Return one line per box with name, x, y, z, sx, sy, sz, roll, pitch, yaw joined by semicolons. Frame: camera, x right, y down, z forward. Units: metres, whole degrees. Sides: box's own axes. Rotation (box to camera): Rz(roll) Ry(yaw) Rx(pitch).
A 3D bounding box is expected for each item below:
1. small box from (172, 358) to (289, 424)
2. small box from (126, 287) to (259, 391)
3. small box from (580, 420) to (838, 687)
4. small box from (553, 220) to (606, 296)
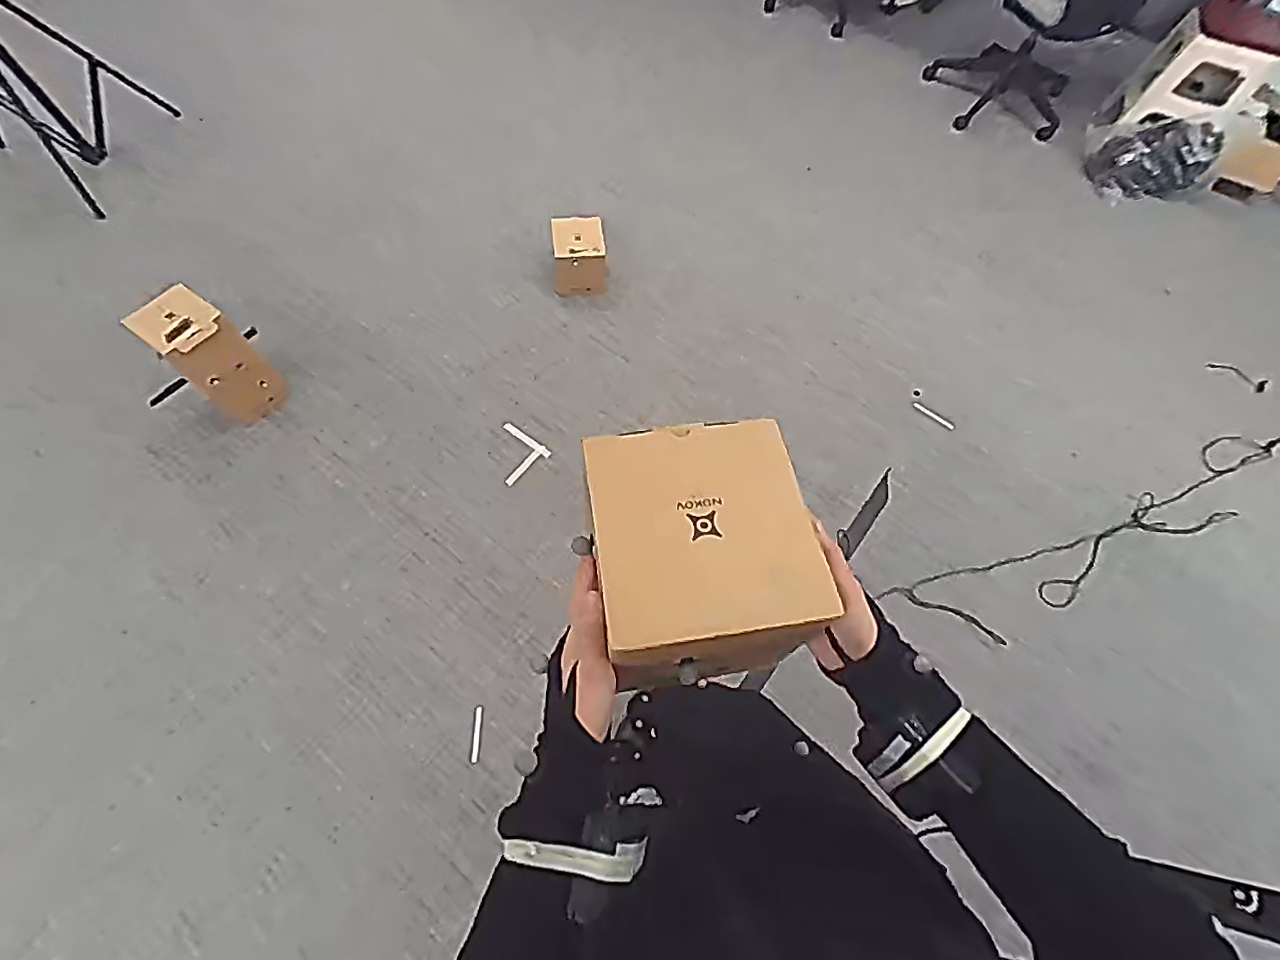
small box;-1.171;-0.286;1.564;0.179;0.176;0.168;32;67;12
small box;-1.159;-0.360;1.417;0.179;0.176;0.168;33;67;12
small box;0.042;0.073;0.473;0.168;0.176;0.179;-7;59;-8
small box;-0.206;-0.750;1.832;0.168;0.176;0.179;-5;65;-6
